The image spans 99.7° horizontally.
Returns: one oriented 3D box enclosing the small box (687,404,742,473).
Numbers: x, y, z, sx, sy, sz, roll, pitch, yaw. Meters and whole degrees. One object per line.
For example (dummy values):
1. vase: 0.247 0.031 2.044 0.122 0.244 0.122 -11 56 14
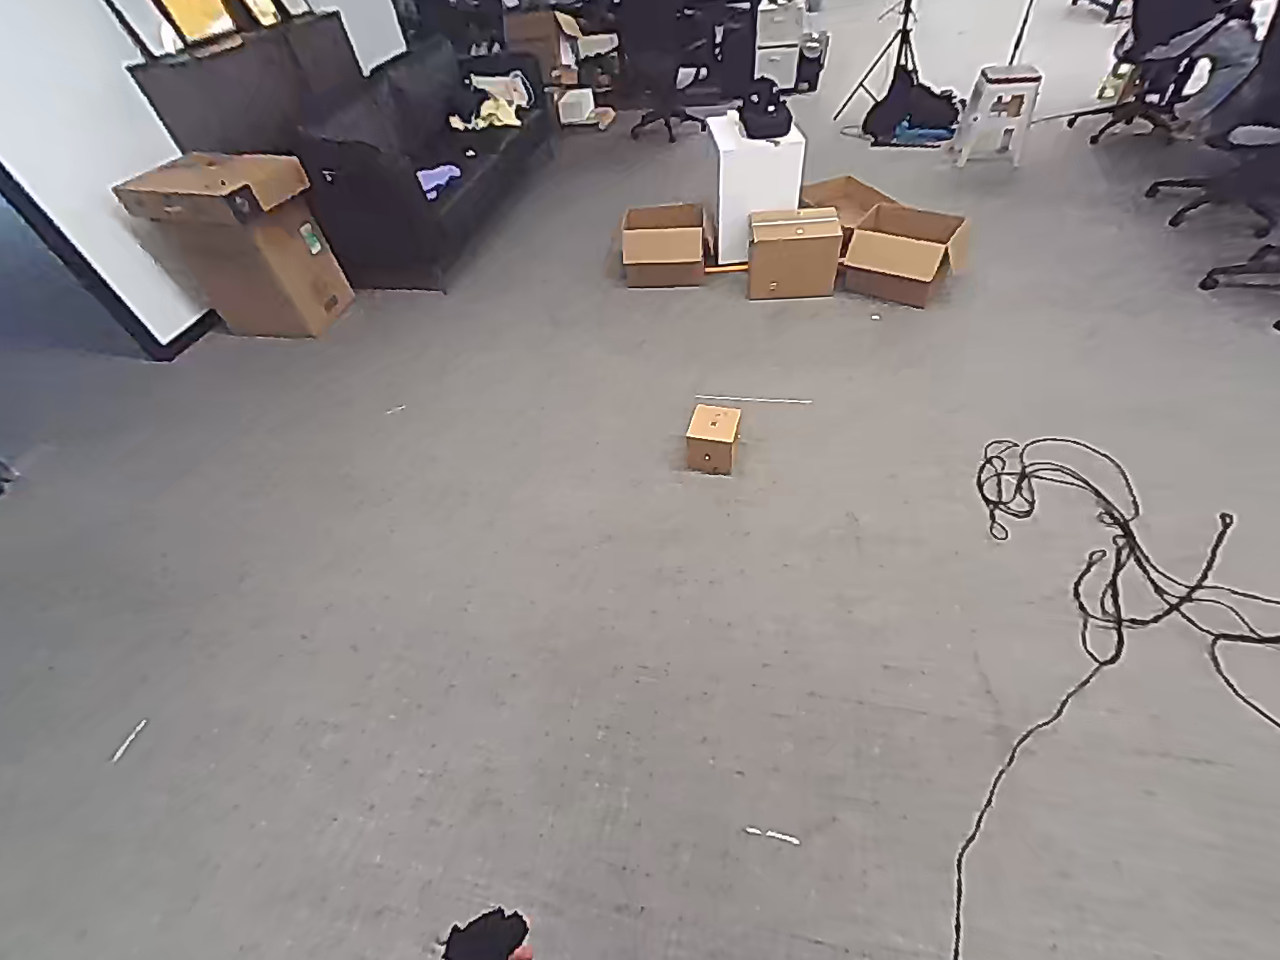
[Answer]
1. small box: 0.275 -0.149 1.976 0.168 0.176 0.179 10 51 15
